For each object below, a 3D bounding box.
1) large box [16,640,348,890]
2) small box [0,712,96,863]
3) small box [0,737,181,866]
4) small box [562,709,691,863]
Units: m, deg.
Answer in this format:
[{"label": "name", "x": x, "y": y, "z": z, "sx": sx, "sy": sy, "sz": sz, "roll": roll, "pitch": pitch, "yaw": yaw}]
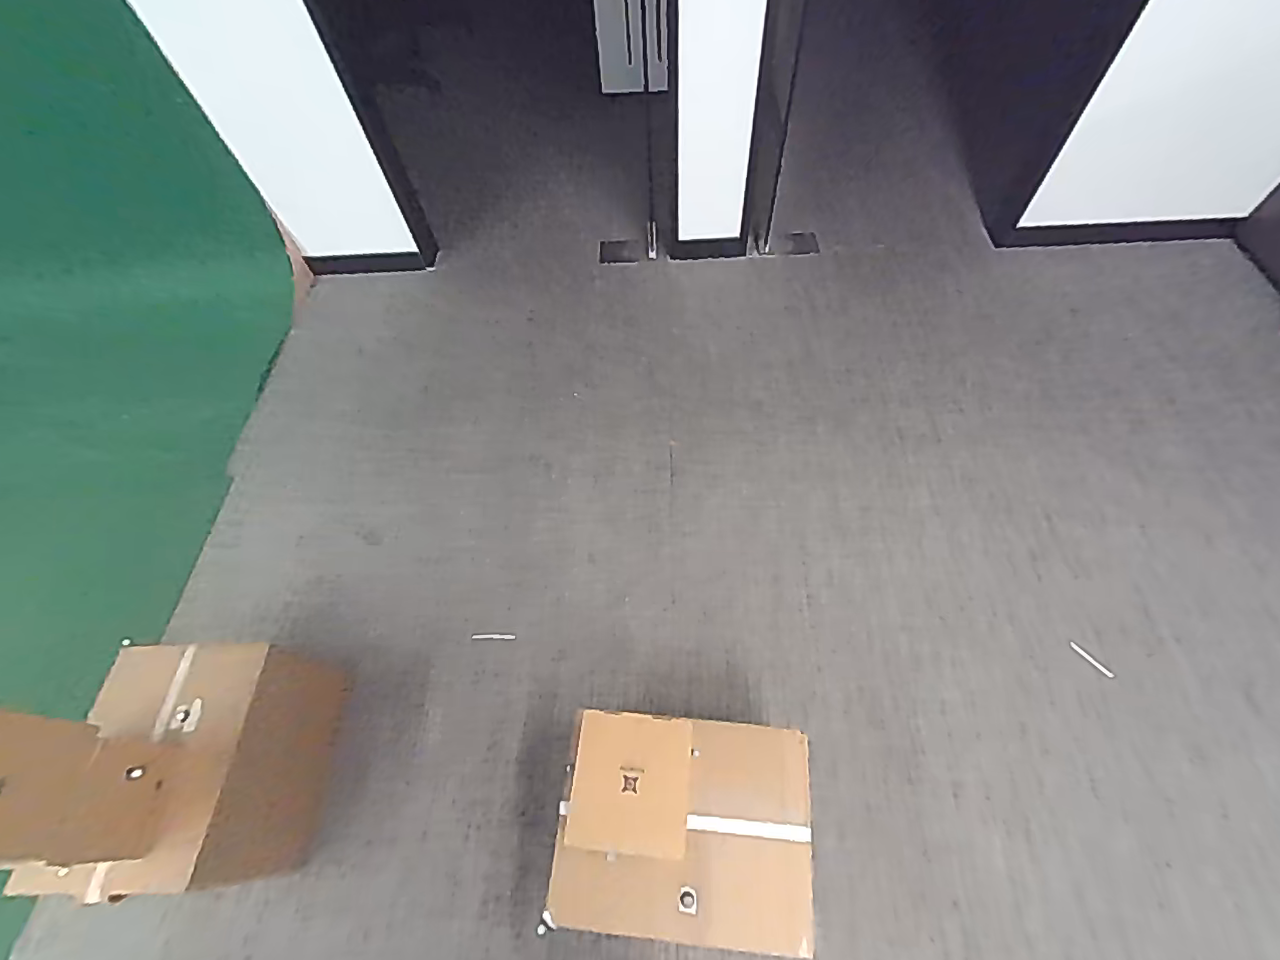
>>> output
[{"label": "large box", "x": -0.870, "y": 0.574, "z": 1.106, "sx": 0.320, "sy": 0.320, "sz": 0.408, "roll": -2, "pitch": 58, "yaw": 3}, {"label": "small box", "x": -0.909, "y": 0.418, "z": 0.727, "sx": 0.168, "sy": 0.176, "sz": 0.179, "roll": -6, "pitch": 58, "yaw": 0}, {"label": "small box", "x": -0.901, "y": 0.509, "z": 0.863, "sx": 0.179, "sy": 0.176, "sz": 0.168, "roll": -3, "pitch": 58, "yaw": 3}, {"label": "small box", "x": -0.010, "y": 0.468, "z": 0.829, "sx": 0.168, "sy": 0.176, "sz": 0.179, "roll": 4, "pitch": 57, "yaw": 6}]
